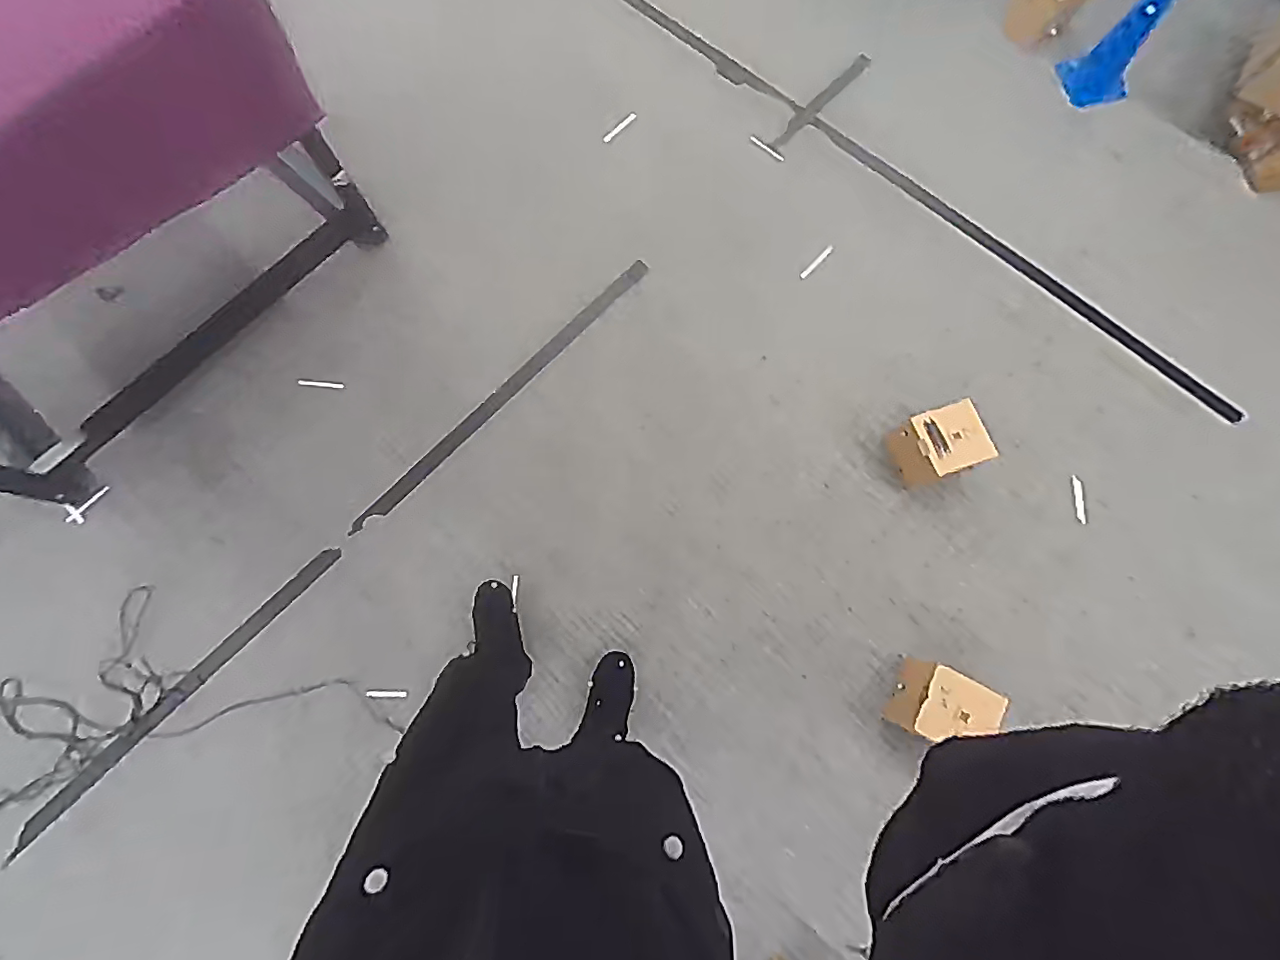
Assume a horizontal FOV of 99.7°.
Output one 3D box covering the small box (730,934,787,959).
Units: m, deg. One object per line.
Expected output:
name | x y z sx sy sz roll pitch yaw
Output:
small box | 0.280 1.168 1.198 0.179 0.176 0.168 42 80 7

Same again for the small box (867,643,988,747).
small box | 0.701 0.520 1.337 0.179 0.176 0.168 29 80 5
